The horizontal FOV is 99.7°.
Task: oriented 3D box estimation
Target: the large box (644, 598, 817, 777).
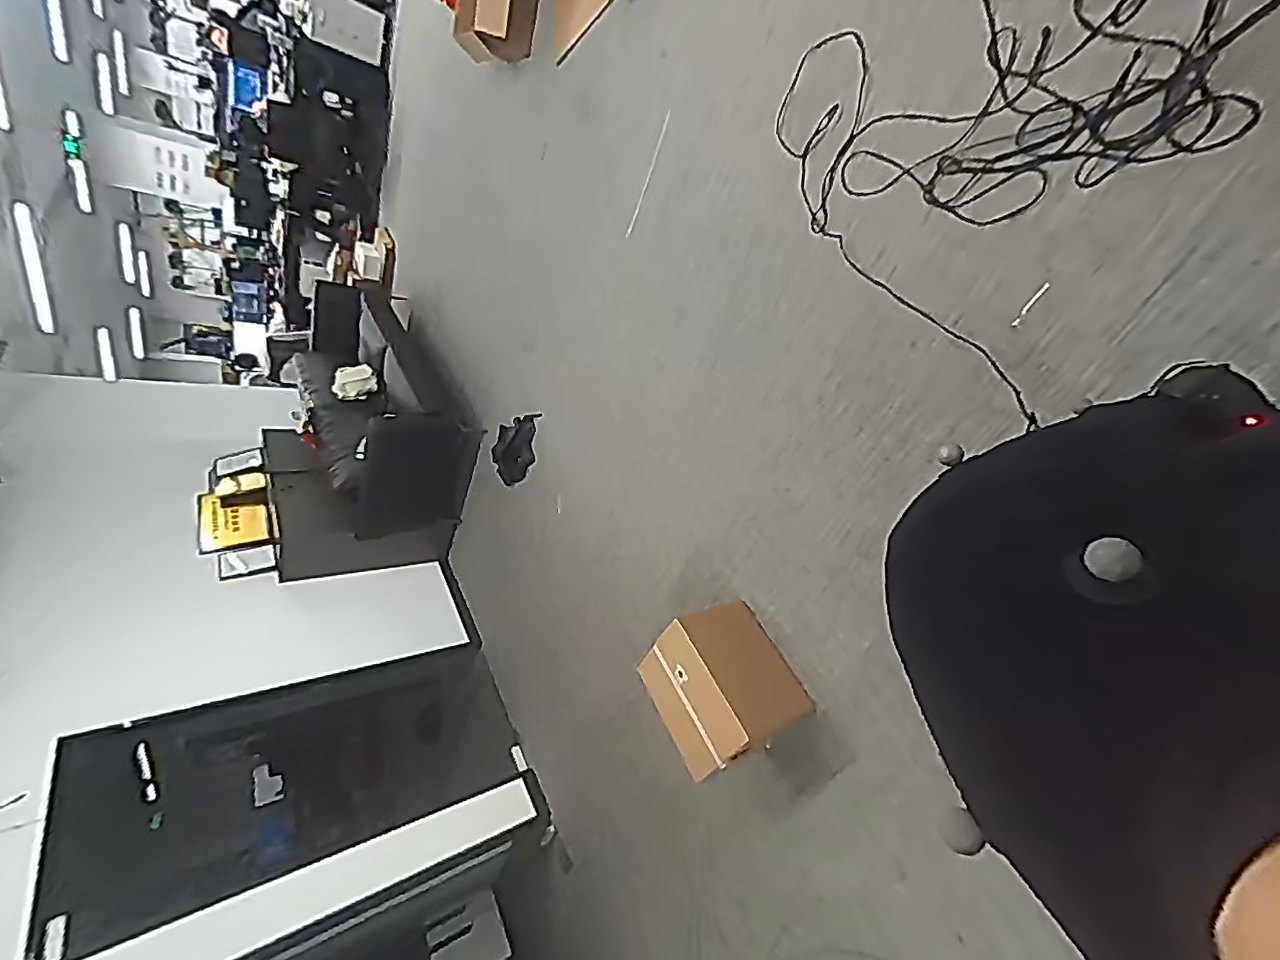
[{"bbox_3d":[0.280,0.653,1.747,0.408,0.320,0.320,57,133,34],"label":"large box"}]
